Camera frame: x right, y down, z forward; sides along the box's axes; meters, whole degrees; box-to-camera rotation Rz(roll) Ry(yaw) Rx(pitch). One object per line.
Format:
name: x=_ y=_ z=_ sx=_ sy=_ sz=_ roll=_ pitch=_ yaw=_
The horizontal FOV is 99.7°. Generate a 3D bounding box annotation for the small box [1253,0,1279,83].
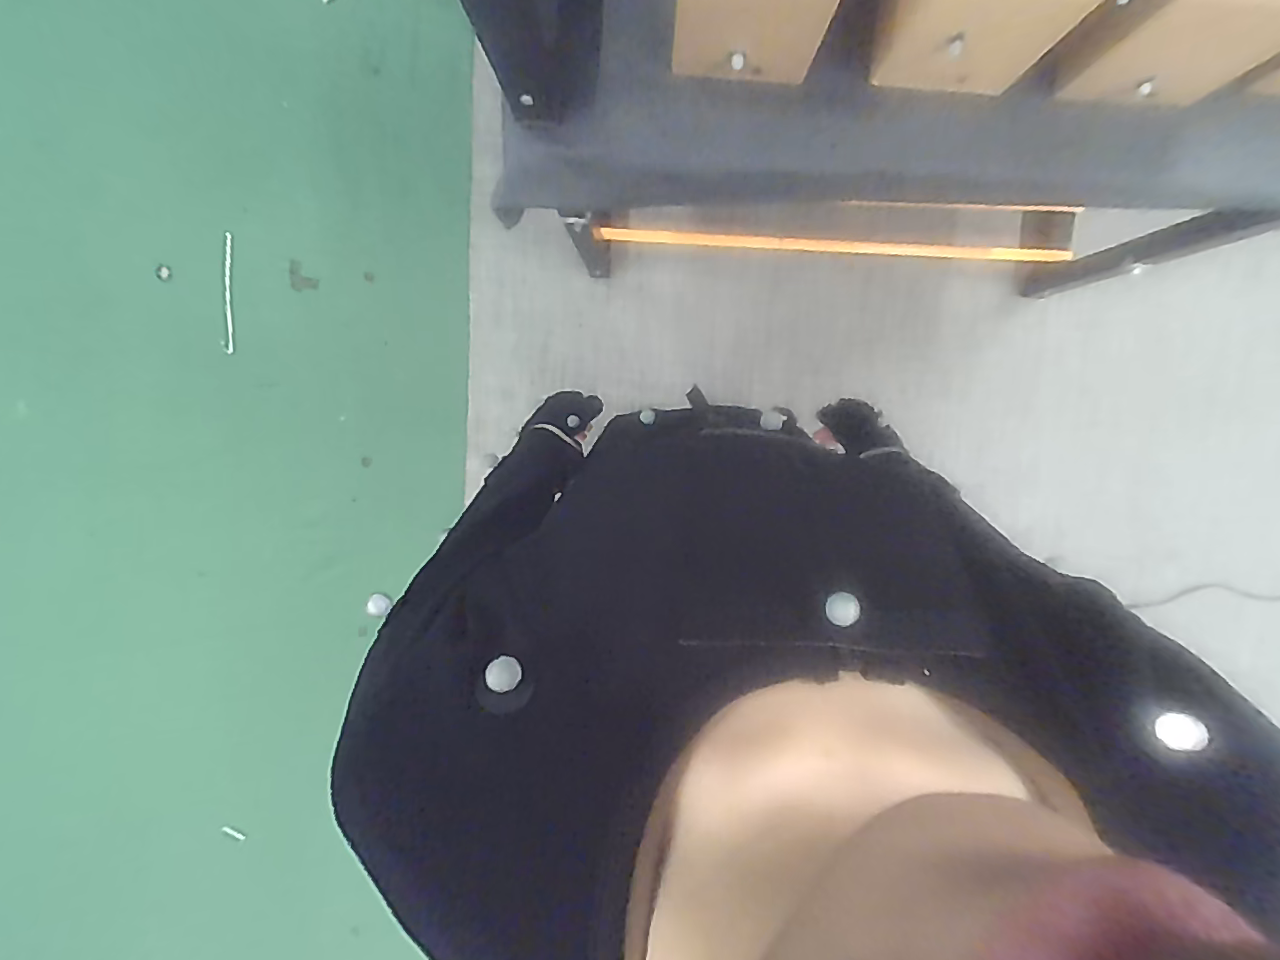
small box: x=0.826 y=-0.542 z=0.567 sx=0.168 sy=0.176 sz=0.179 roll=7 pitch=97 yaw=1

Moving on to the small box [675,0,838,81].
small box: x=0.129 y=-0.583 z=0.587 sx=0.168 sy=0.176 sz=0.179 roll=6 pitch=98 yaw=1

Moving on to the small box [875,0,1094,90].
small box: x=0.374 y=-0.562 z=0.583 sx=0.168 sy=0.176 sz=0.179 roll=6 pitch=97 yaw=1
